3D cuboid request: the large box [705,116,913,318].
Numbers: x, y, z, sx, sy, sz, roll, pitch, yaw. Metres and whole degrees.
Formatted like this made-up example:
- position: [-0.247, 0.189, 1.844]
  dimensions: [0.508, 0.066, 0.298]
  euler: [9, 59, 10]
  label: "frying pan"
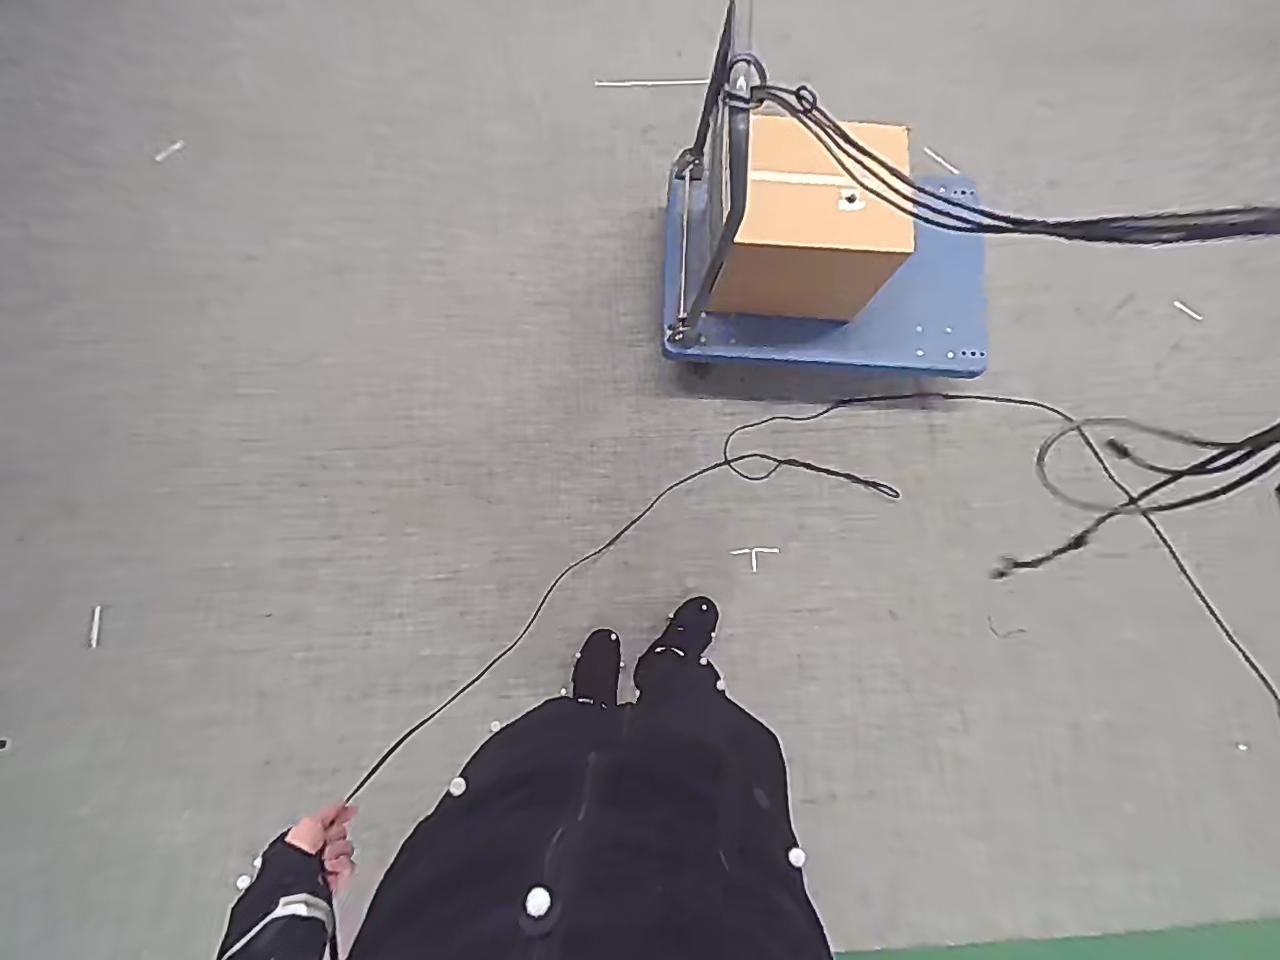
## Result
- position: [0.379, -0.614, 1.312]
  dimensions: [0.408, 0.320, 0.320]
  euler: [4, 79, -2]
  label: "large box"
